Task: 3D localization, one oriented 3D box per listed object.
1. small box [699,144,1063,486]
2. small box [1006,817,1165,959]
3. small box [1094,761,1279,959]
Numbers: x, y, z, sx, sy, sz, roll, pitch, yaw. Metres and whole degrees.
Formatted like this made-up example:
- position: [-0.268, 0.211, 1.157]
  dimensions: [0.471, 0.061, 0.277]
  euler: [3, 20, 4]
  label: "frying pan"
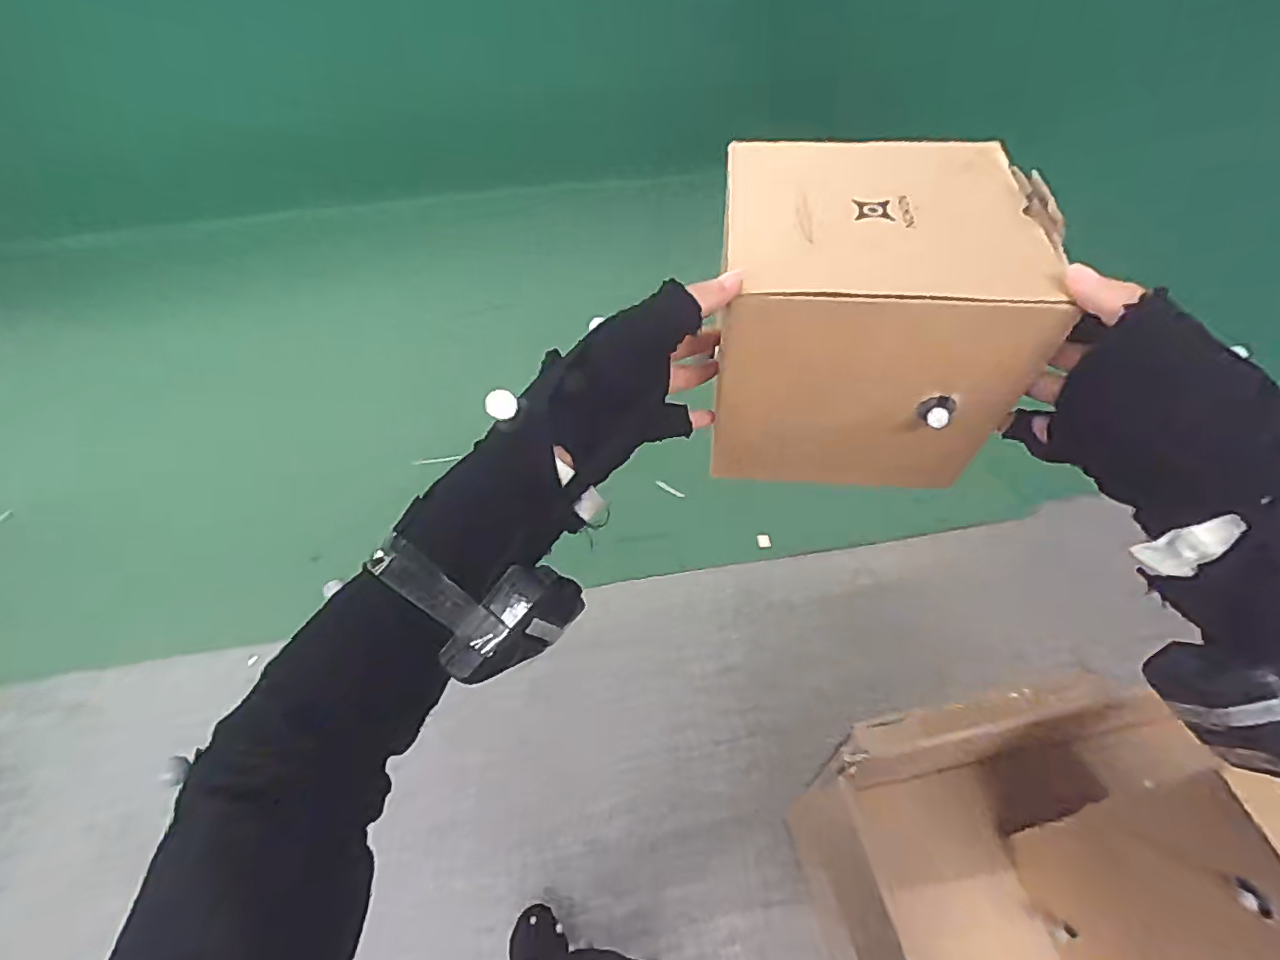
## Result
- position: [0.134, -0.108, 0.381]
  dimensions: [0.179, 0.176, 0.168]
  euler: [2, 55, 6]
  label: "small box"
- position: [0.515, 0.428, 0.527]
  dimensions: [0.168, 0.176, 0.179]
  euler: [-8, 50, -7]
  label: "small box"
- position: [0.508, 0.321, 0.402]
  dimensions: [0.168, 0.176, 0.179]
  euler: [-7, 50, -4]
  label: "small box"
